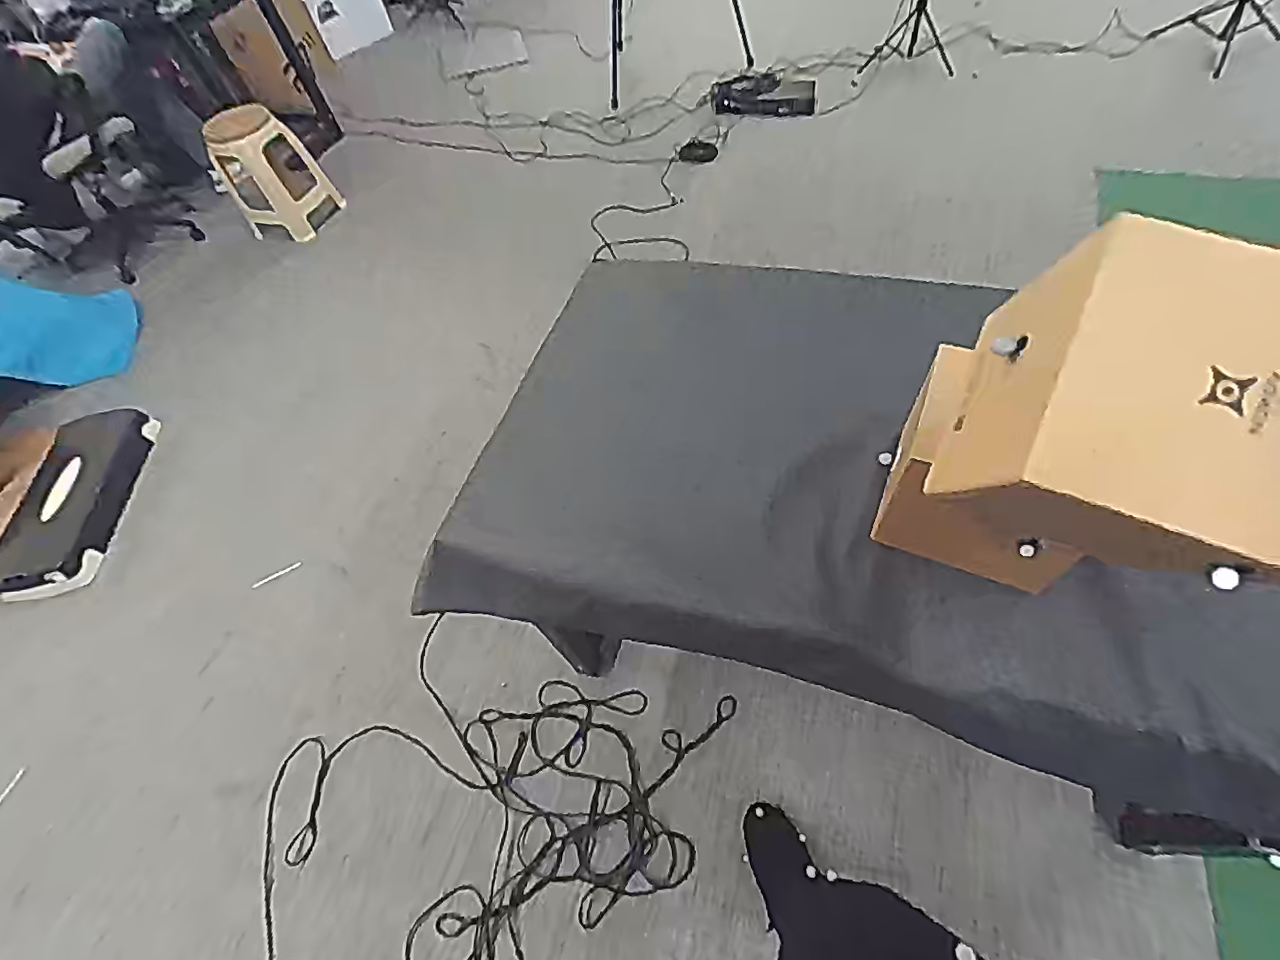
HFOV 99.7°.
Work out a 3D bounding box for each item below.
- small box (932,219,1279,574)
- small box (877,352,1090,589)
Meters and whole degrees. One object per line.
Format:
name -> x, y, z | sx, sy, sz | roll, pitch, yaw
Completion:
small box -> 0.338, -0.040, 0.374 | 0.179, 0.176, 0.168 | 20, 88, 10
small box -> 0.378, -0.004, 0.578 | 0.179, 0.176, 0.168 | 18, 60, 20
